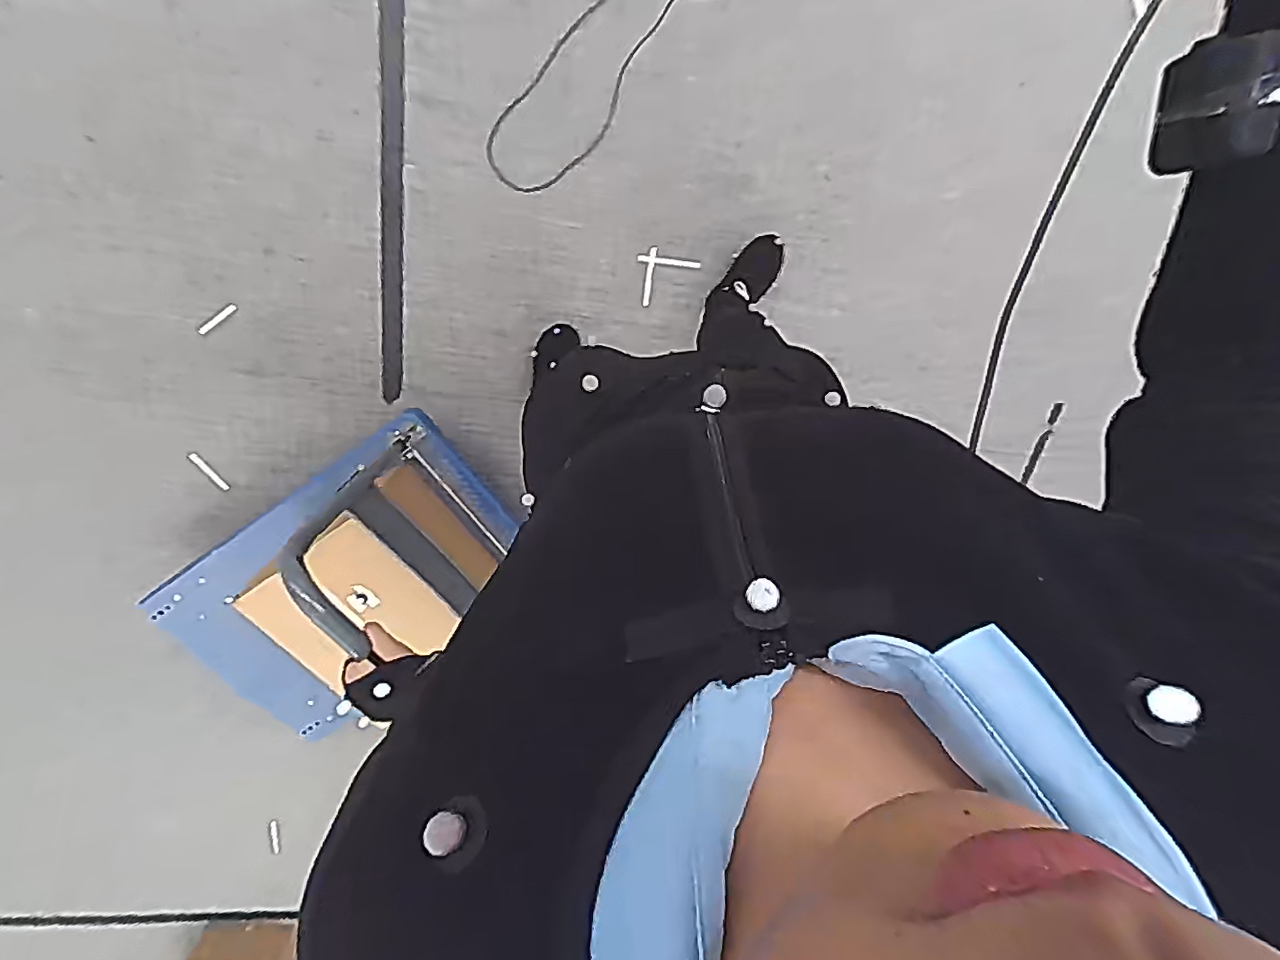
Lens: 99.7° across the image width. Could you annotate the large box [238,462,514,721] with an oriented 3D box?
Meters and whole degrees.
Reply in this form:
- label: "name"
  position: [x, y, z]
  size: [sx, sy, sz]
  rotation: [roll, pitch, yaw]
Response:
- label: "large box"
  position: [-0.541, 0.236, 1.207]
  size: [0.320, 0.320, 0.408]
  rotation: [-34, 110, 6]
